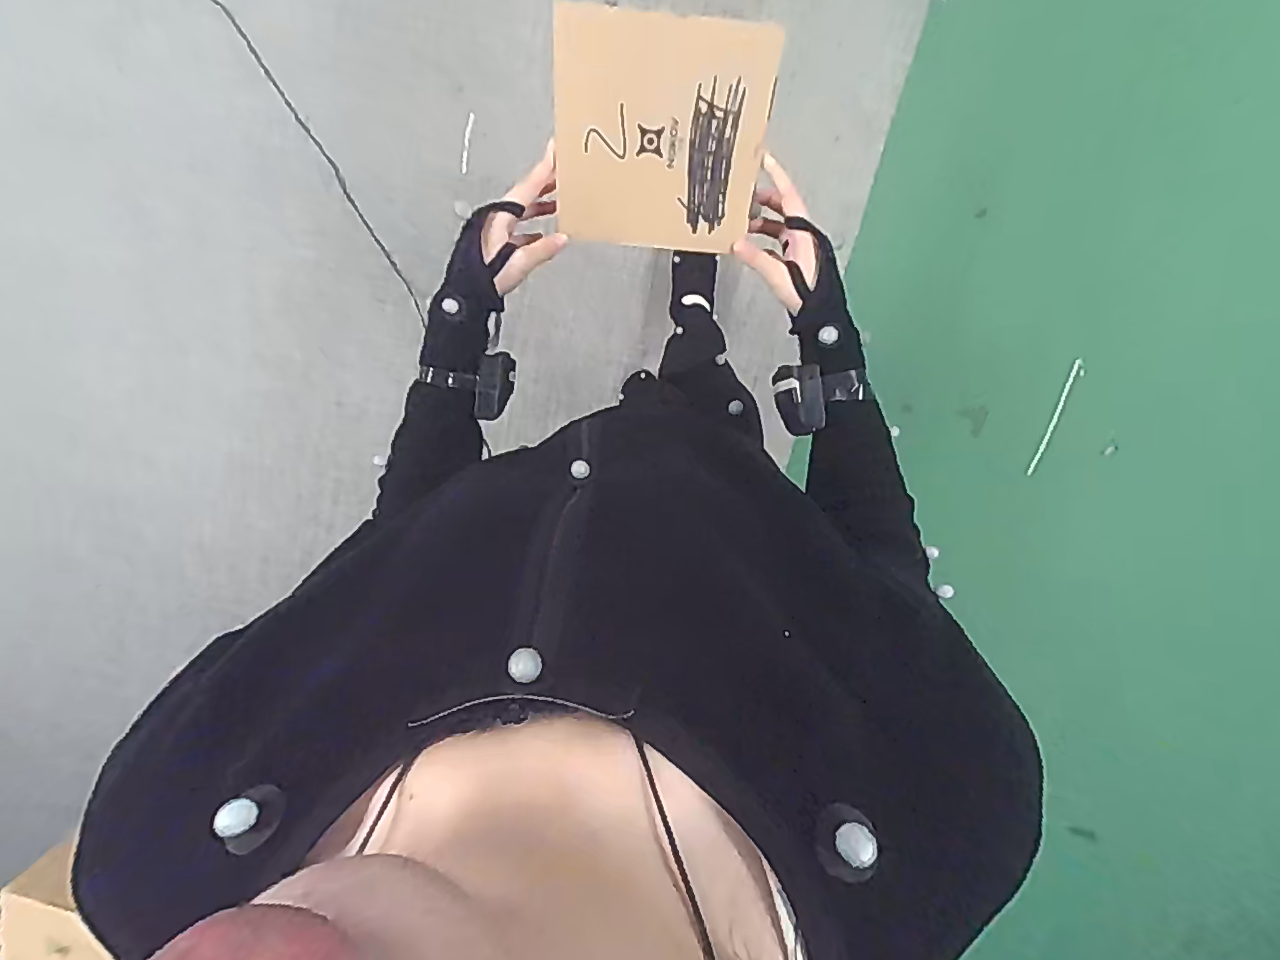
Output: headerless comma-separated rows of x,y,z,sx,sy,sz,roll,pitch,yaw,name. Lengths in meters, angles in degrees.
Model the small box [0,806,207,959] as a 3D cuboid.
-0.825,0.644,0.830,0.179,0.176,0.168,18,102,-2,small box
